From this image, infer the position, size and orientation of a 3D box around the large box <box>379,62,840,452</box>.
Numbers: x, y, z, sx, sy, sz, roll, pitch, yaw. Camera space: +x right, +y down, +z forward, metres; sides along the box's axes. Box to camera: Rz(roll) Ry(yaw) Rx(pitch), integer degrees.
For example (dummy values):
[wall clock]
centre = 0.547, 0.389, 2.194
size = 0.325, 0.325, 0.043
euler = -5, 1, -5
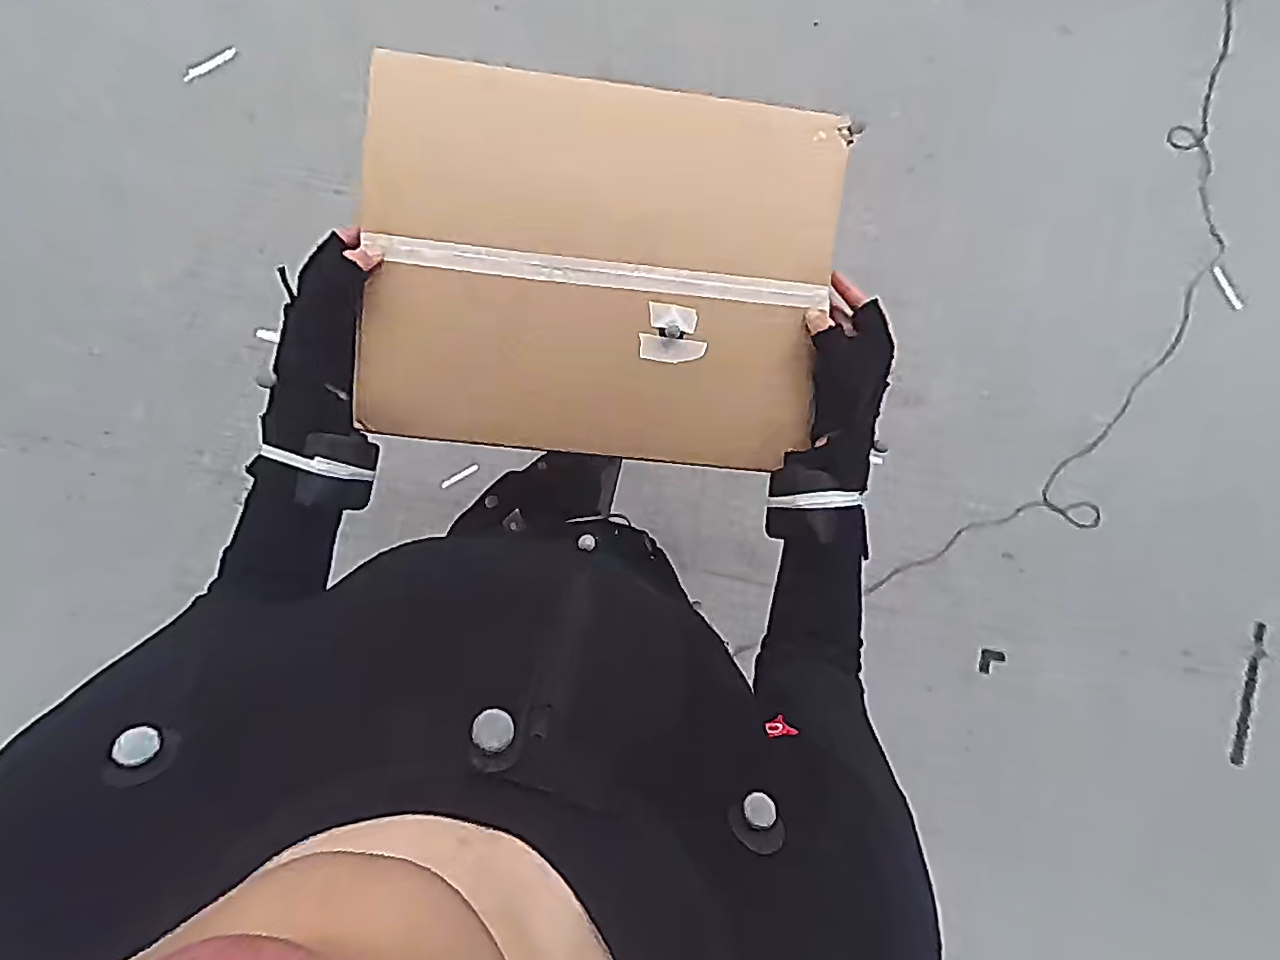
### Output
[large box]
centre = -0.038, -0.205, 0.635
size = 0.408, 0.320, 0.320
euler = 5, 96, -4
